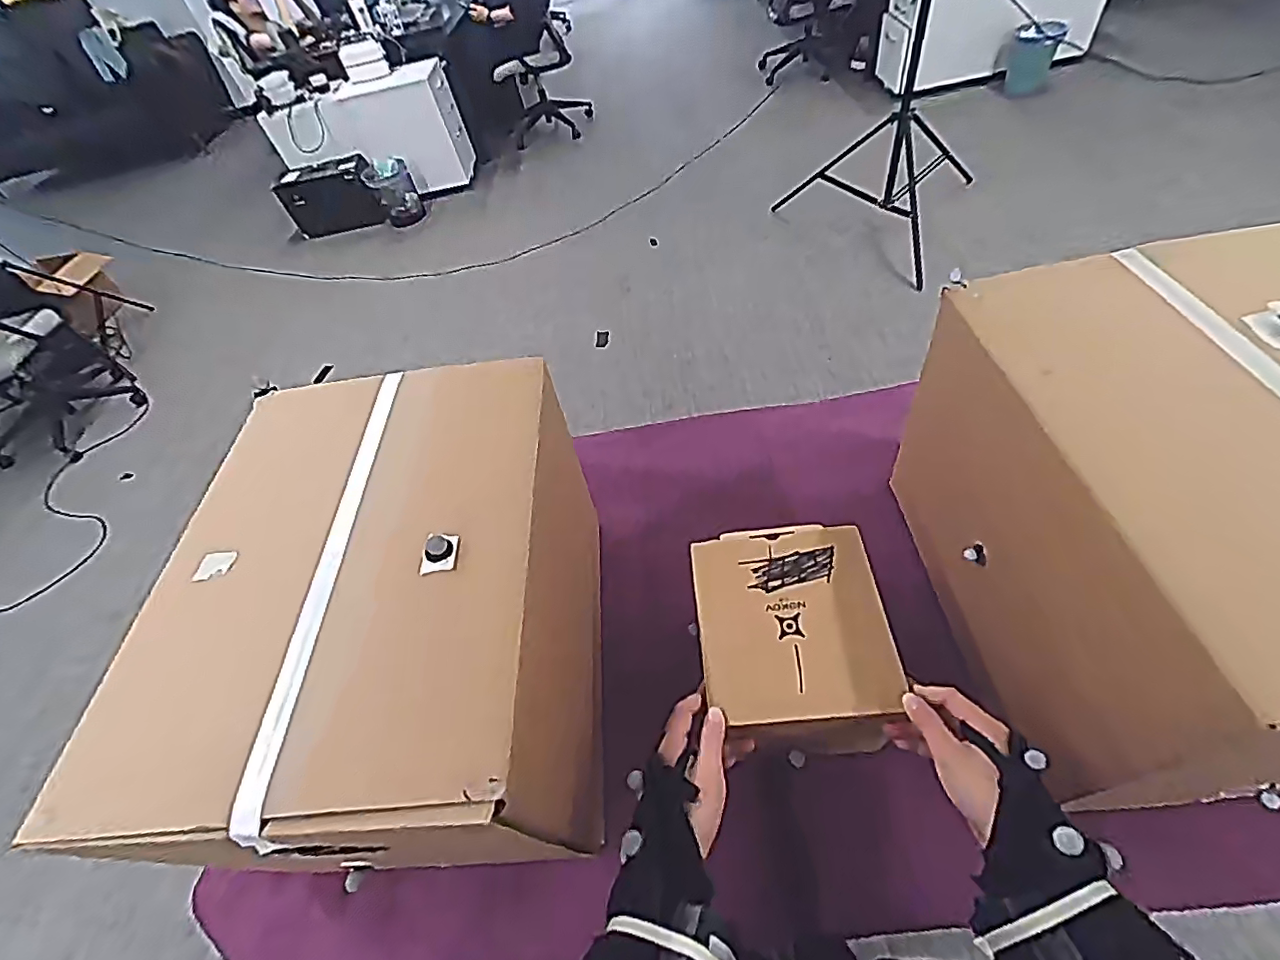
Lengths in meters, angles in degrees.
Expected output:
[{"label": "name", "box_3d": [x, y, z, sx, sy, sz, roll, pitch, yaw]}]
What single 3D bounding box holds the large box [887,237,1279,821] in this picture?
[{"label": "large box", "box_3d": [0.473, 0.046, 0.498, 0.320, 0.320, 0.408, -9, 50, 5]}]
